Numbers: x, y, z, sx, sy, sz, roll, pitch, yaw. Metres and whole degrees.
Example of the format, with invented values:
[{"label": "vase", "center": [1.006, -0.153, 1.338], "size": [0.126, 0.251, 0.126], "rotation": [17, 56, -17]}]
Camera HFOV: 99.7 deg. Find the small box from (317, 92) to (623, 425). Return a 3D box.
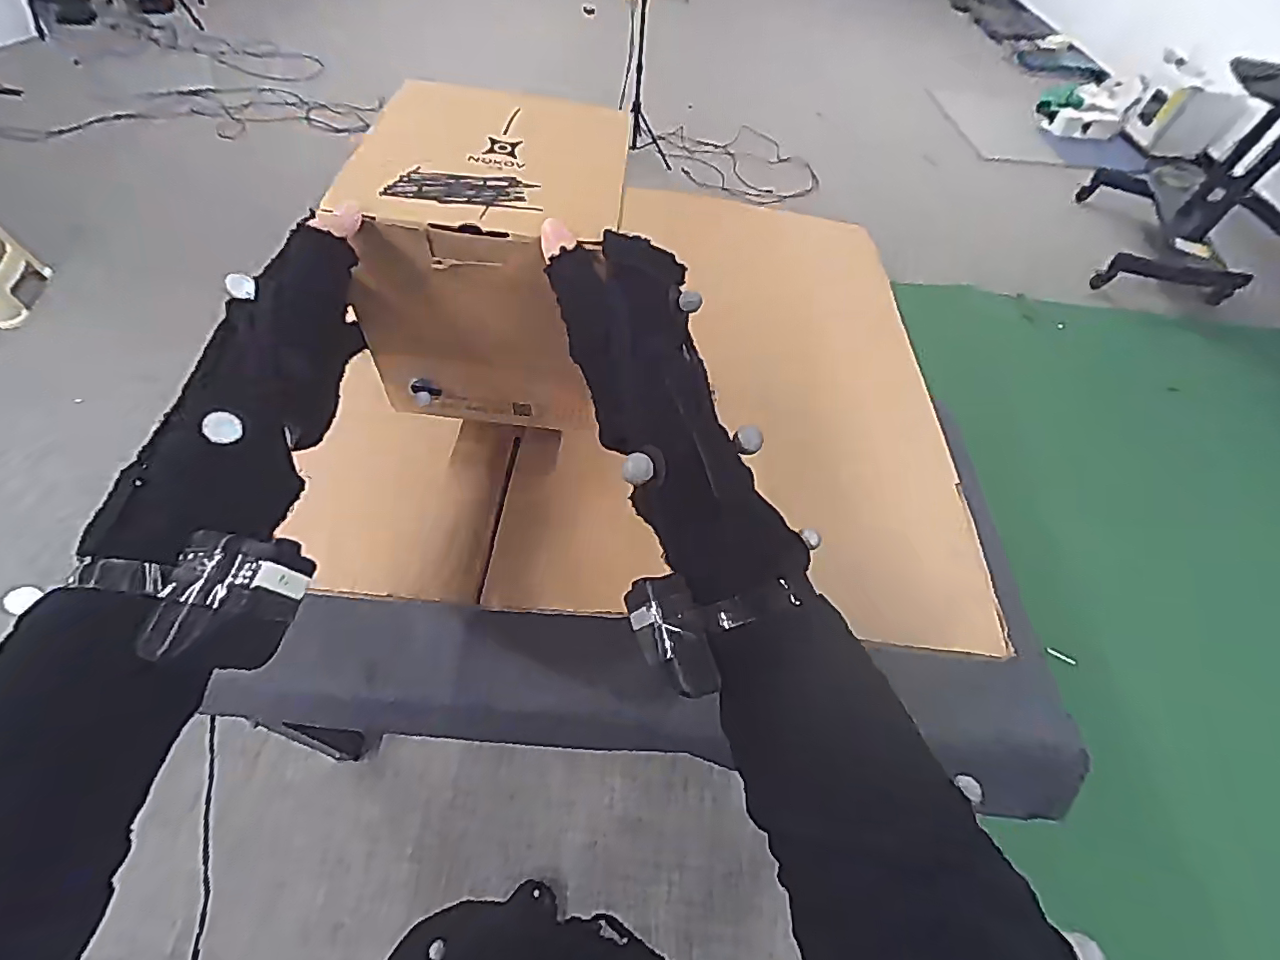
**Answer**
[{"label": "small box", "center": [-0.105, -0.163, 0.420], "size": [0.168, 0.176, 0.179], "rotation": [6, 54, -3]}]
